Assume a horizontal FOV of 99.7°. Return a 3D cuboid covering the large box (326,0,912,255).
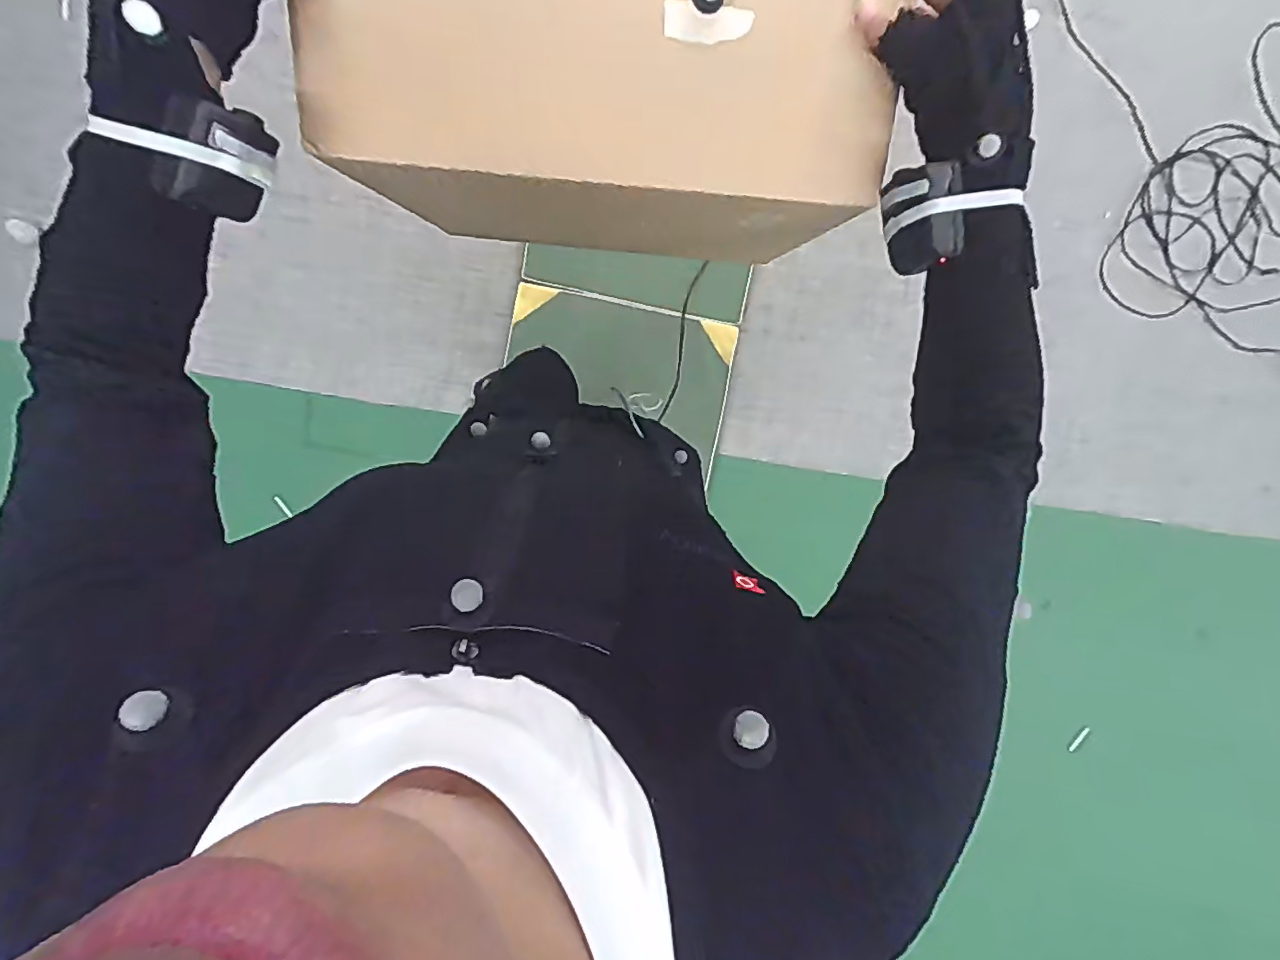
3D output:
[{"bbox_3d":[-0.015,-0.406,0.498,0.408,0.320,0.320,3,105,-4],"label":"large box"}]
